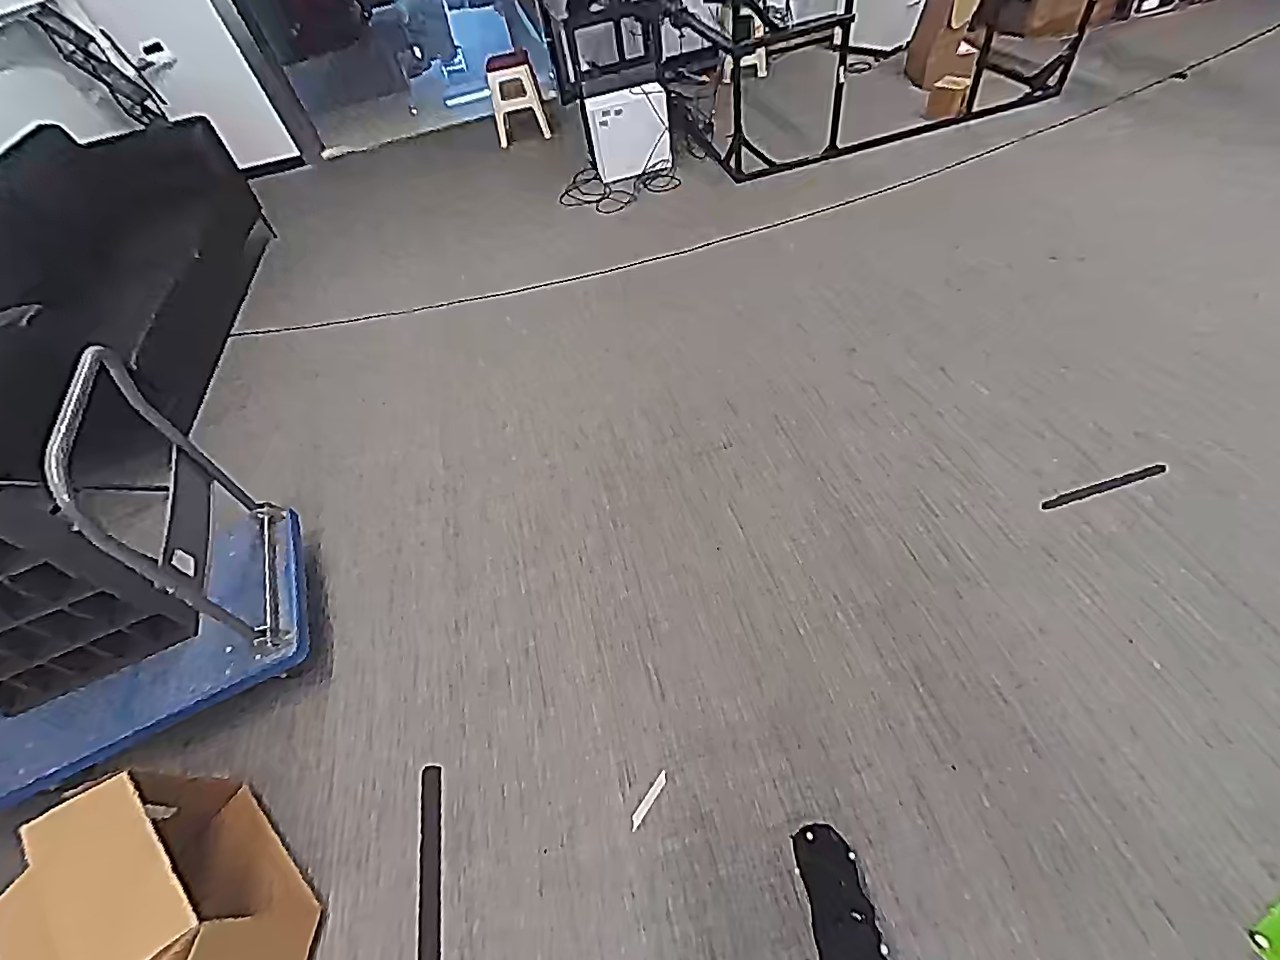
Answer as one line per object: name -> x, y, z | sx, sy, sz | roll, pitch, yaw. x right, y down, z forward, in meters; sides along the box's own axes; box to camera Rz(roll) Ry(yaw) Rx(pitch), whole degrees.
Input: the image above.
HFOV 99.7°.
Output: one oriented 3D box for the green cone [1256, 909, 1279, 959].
green cone -> 1.187, 0.726, 0.784 | 0.202, 0.368, 0.200 | -28, 52, -13
